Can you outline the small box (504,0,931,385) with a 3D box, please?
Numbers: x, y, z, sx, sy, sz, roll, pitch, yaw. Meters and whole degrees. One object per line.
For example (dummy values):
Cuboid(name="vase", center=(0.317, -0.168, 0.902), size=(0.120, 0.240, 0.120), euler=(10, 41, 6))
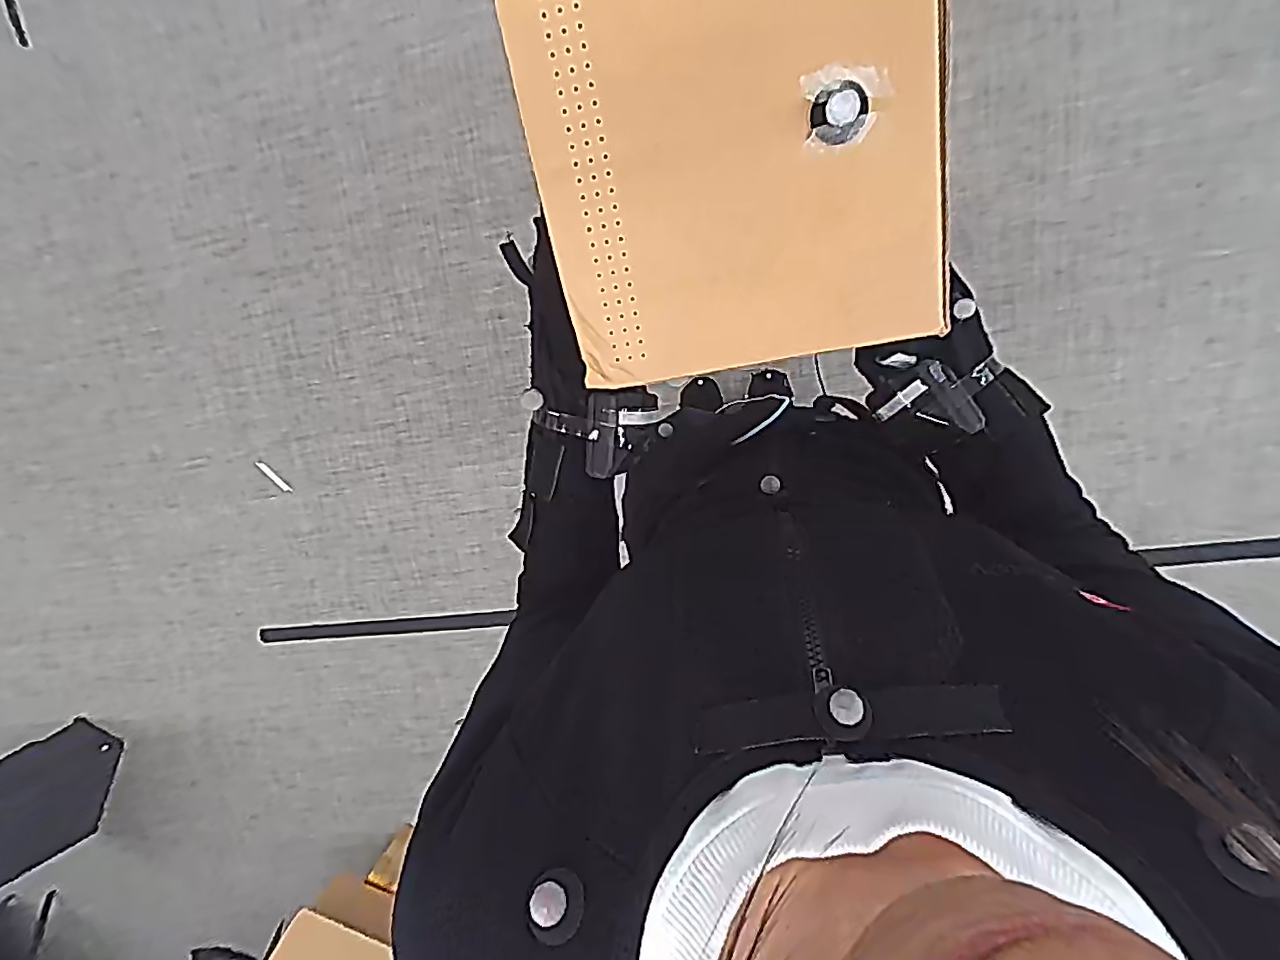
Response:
Cuboid(name="small box", center=(0.042, -0.167, 0.305), size=(0.176, 0.168, 0.179), euler=(-8, 111, 11))
